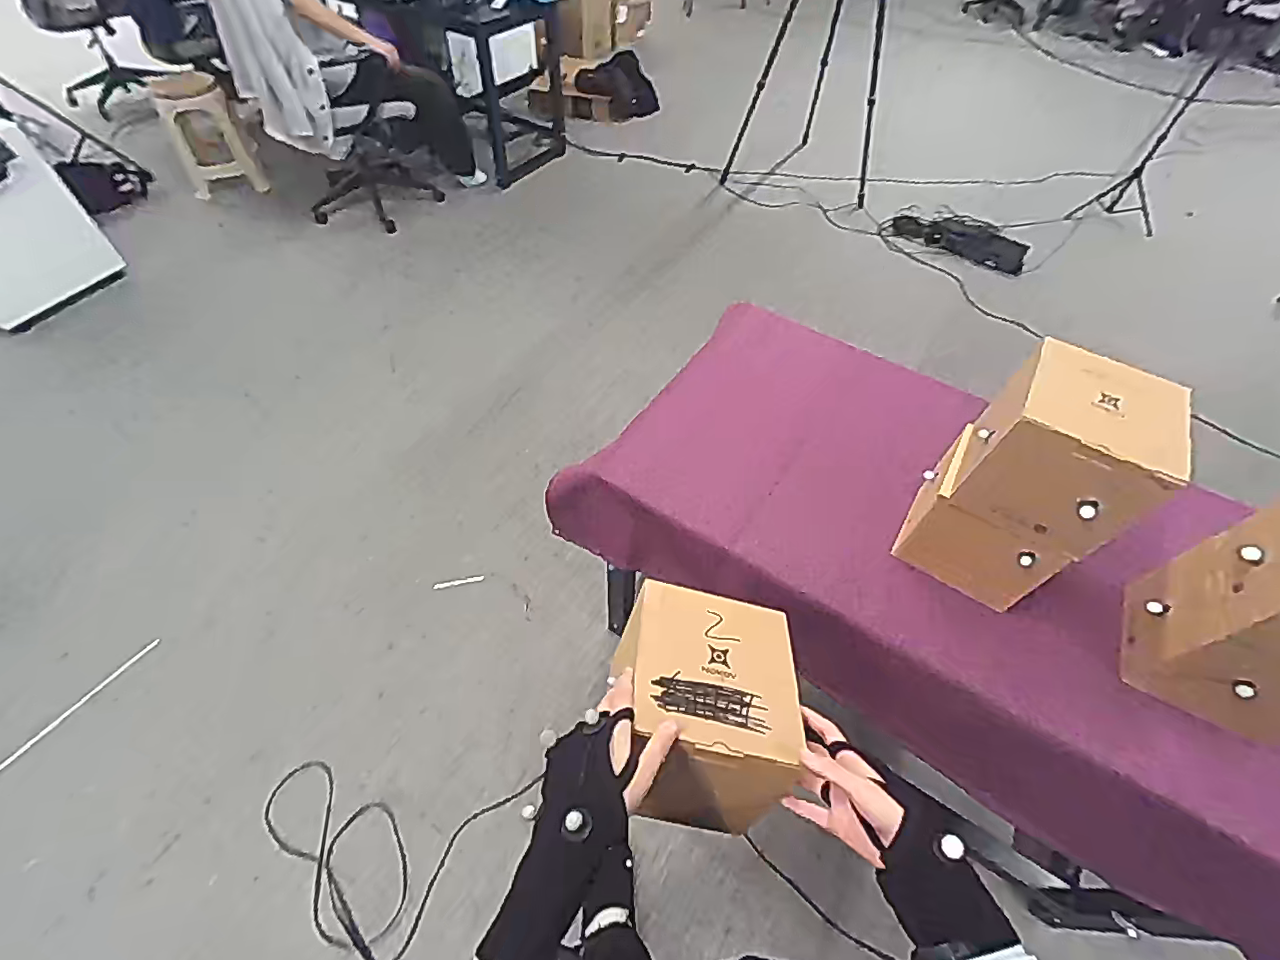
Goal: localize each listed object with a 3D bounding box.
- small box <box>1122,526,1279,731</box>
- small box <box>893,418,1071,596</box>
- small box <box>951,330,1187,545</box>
[{"bbox_3d":[0.784,0.198,0.707,0.179,0.176,0.168,26,56,17],"label":"small box"},{"bbox_3d":[0.515,0.045,0.815,0.179,0.176,0.168,30,57,18],"label":"small box"},{"bbox_3d":[0.527,-0.049,0.683,0.168,0.176,0.179,29,56,17],"label":"small box"}]
